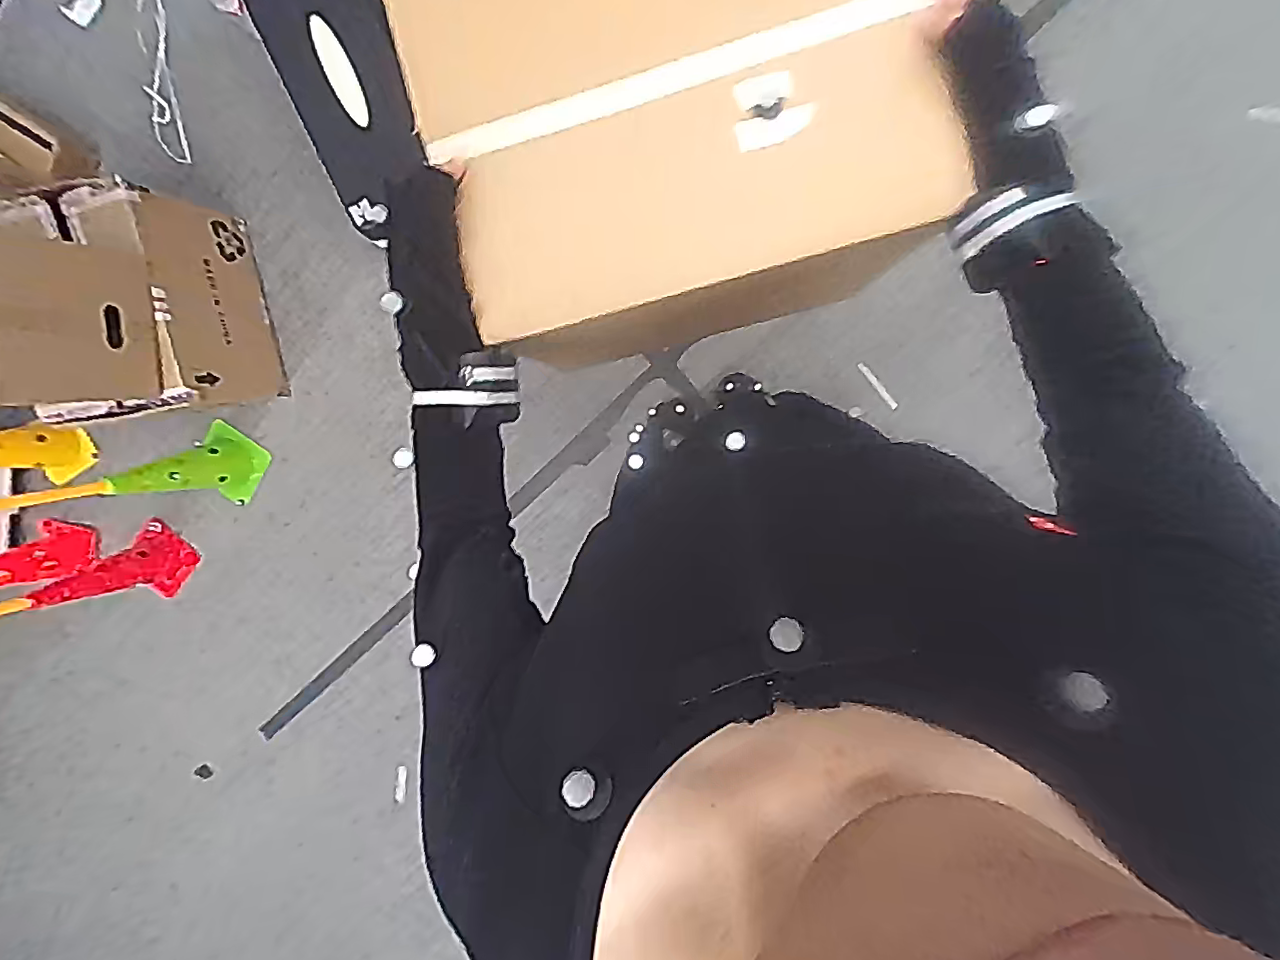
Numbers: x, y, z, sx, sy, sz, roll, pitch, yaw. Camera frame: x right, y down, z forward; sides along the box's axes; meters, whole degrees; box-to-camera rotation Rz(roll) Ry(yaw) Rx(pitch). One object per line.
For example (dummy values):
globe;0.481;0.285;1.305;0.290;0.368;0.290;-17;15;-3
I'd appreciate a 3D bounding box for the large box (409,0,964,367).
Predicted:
large box;0.041;-0.335;0.583;0.408;0.320;0.320;-13;95;6
